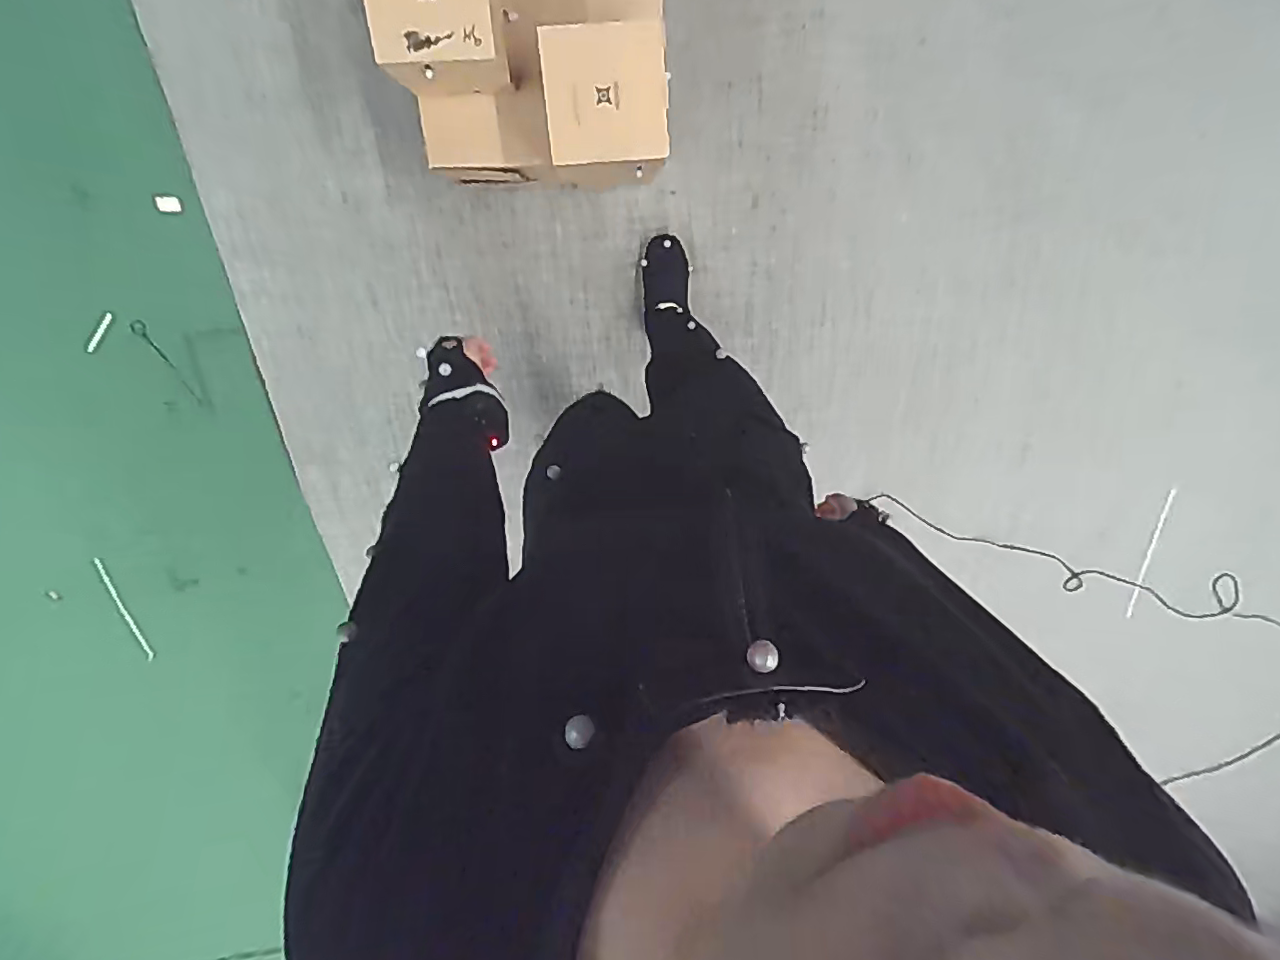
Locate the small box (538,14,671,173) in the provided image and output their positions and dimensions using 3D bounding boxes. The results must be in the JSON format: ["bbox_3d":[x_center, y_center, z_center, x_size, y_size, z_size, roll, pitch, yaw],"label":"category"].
[{"bbox_3d":[-0.052,-0.576,0.826,0.179,0.176,0.168,-5,113,-1],"label":"small box"}]

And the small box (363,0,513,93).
[{"bbox_3d":[-0.283,-0.679,0.769,0.168,0.176,0.179,-3,113,-1],"label":"small box"}]
